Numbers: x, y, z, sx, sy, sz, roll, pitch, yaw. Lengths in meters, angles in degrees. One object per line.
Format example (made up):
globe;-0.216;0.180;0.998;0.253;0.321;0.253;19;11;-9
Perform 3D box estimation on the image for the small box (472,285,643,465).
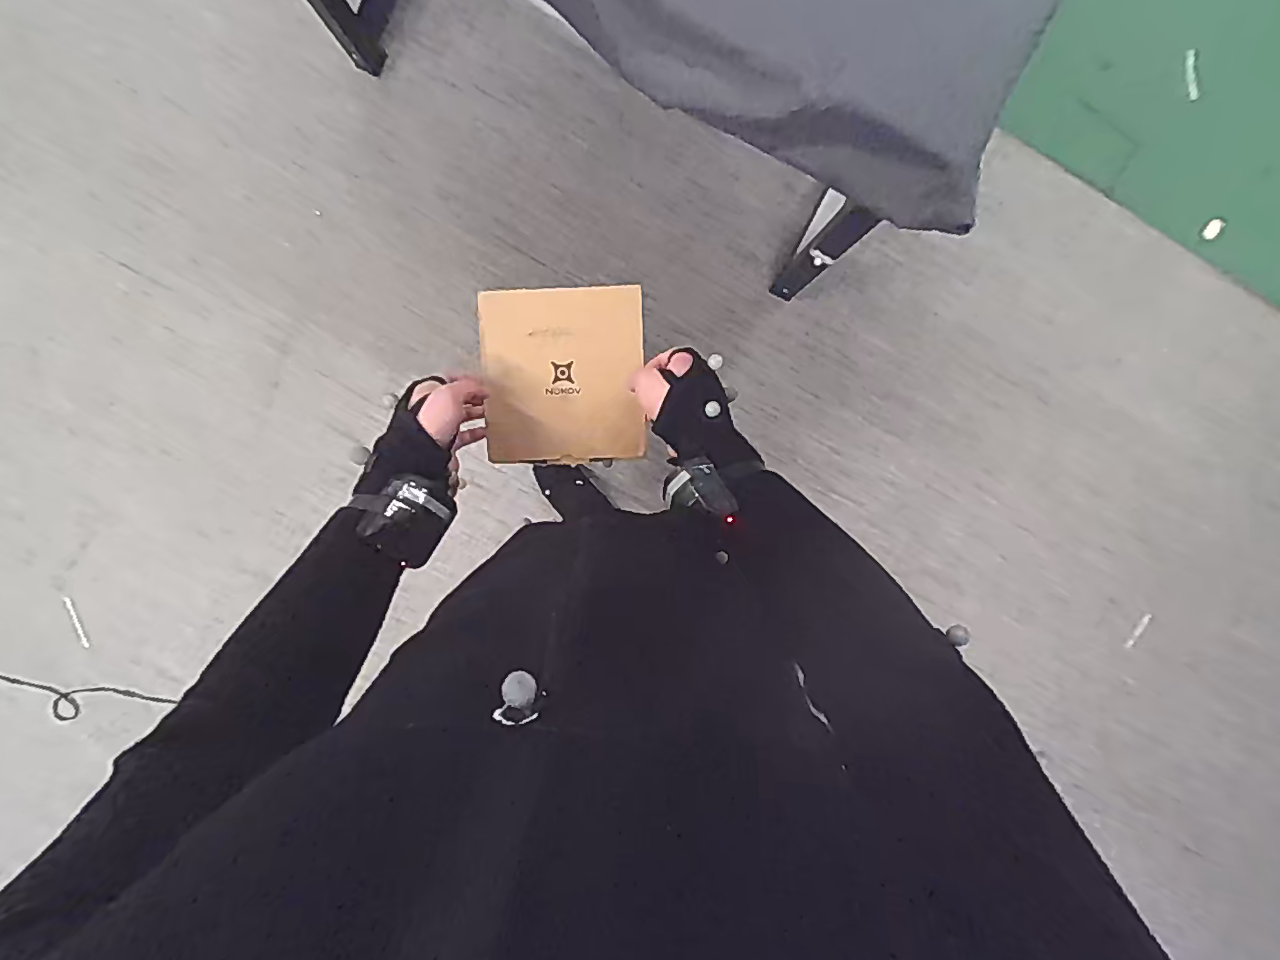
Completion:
small box;-0.081;-0.115;0.622;0.168;0.176;0.179;-2;97;0
